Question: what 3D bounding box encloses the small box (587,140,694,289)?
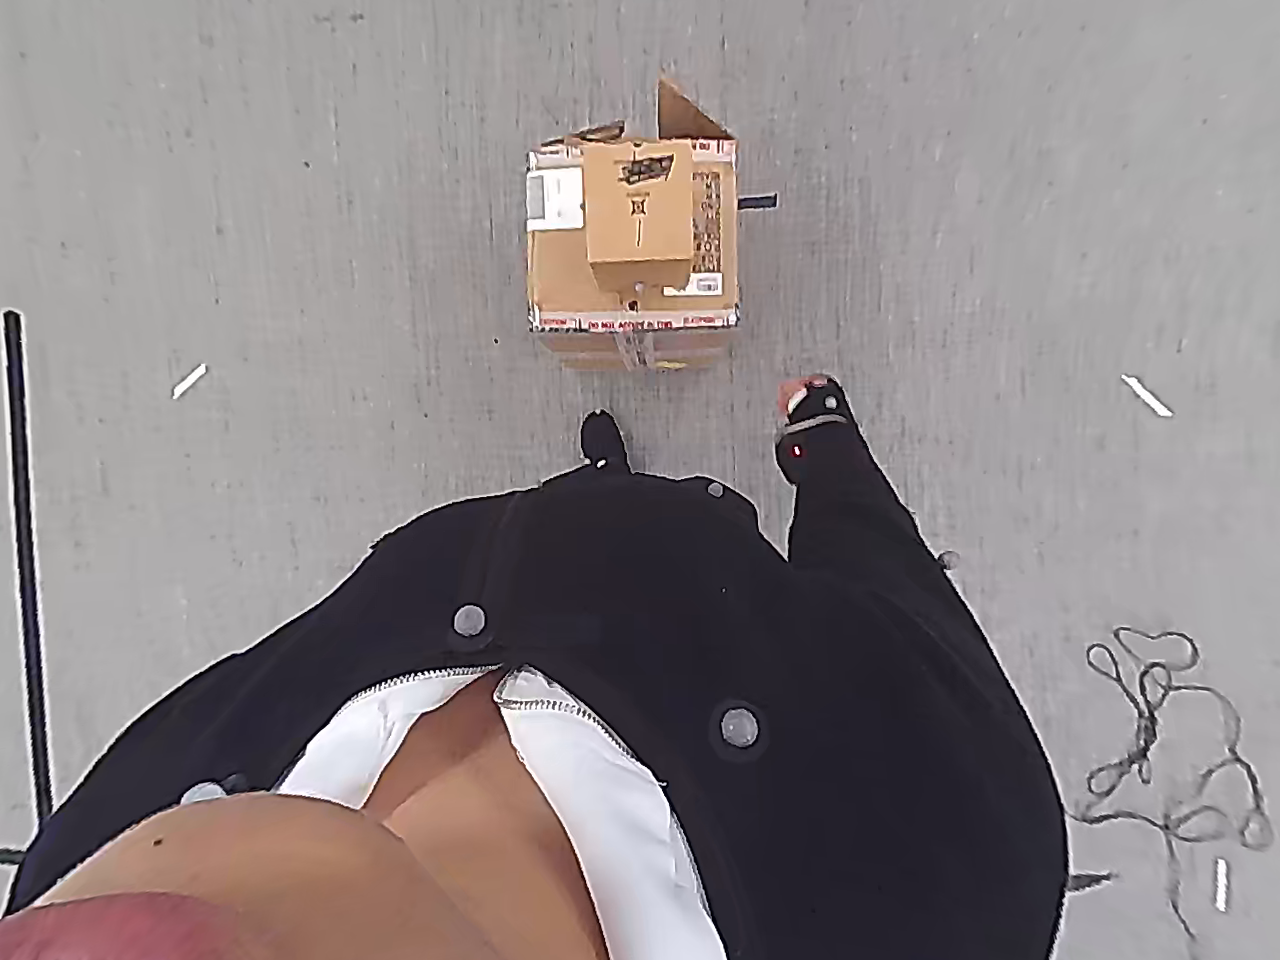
[{"bbox_3d":[0.002,-0.432,0.902,0.168,0.176,0.179,-1,95,2],"label":"small box"}]
